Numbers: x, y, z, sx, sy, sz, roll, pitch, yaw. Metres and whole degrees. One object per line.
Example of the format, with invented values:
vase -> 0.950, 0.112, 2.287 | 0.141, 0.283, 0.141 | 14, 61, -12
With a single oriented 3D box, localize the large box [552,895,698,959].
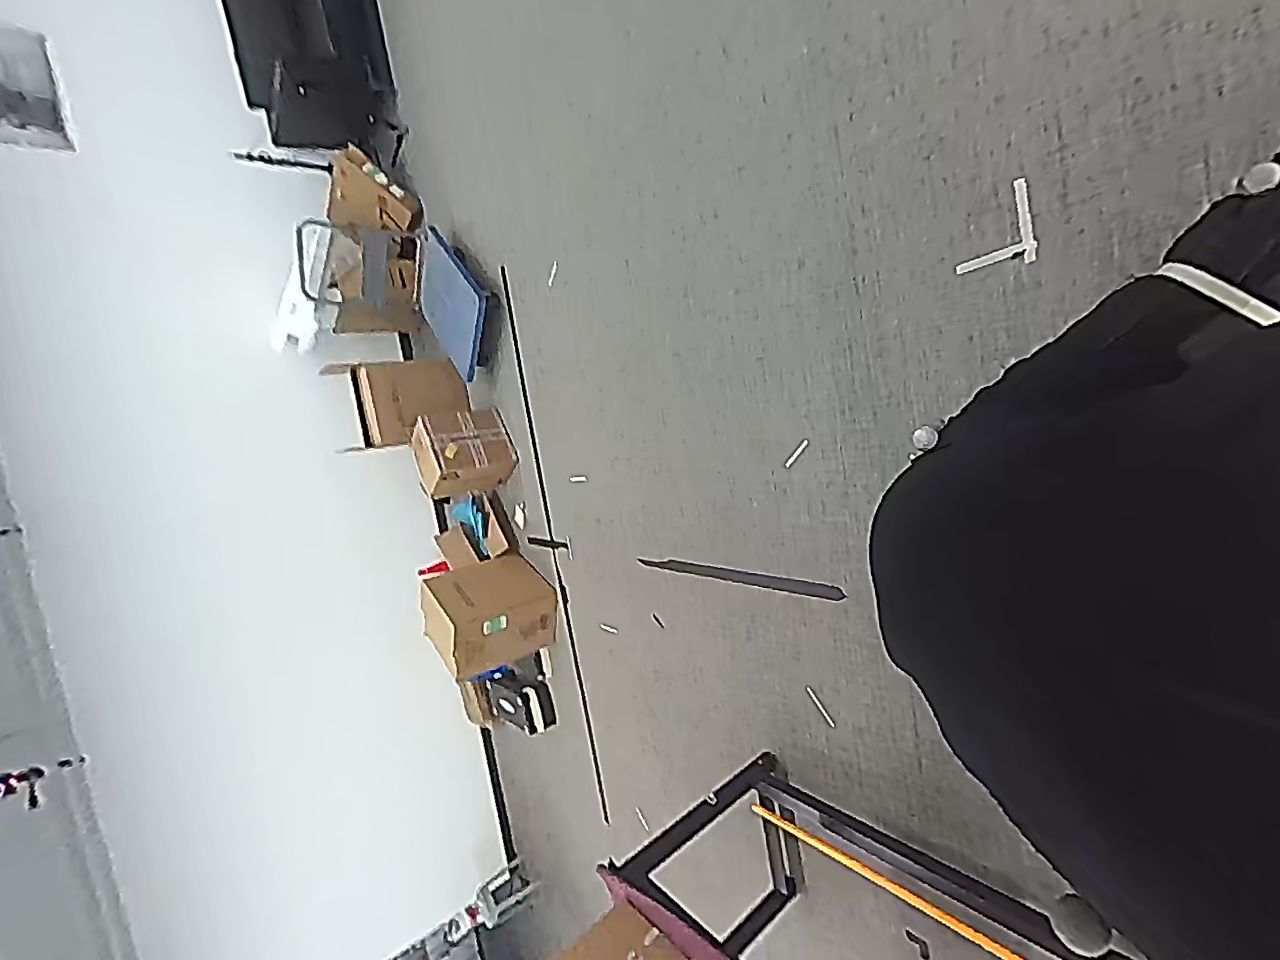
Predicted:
large box -> -0.015, 1.422, 1.392 | 0.320, 0.320, 0.408 | -3, 100, 54
